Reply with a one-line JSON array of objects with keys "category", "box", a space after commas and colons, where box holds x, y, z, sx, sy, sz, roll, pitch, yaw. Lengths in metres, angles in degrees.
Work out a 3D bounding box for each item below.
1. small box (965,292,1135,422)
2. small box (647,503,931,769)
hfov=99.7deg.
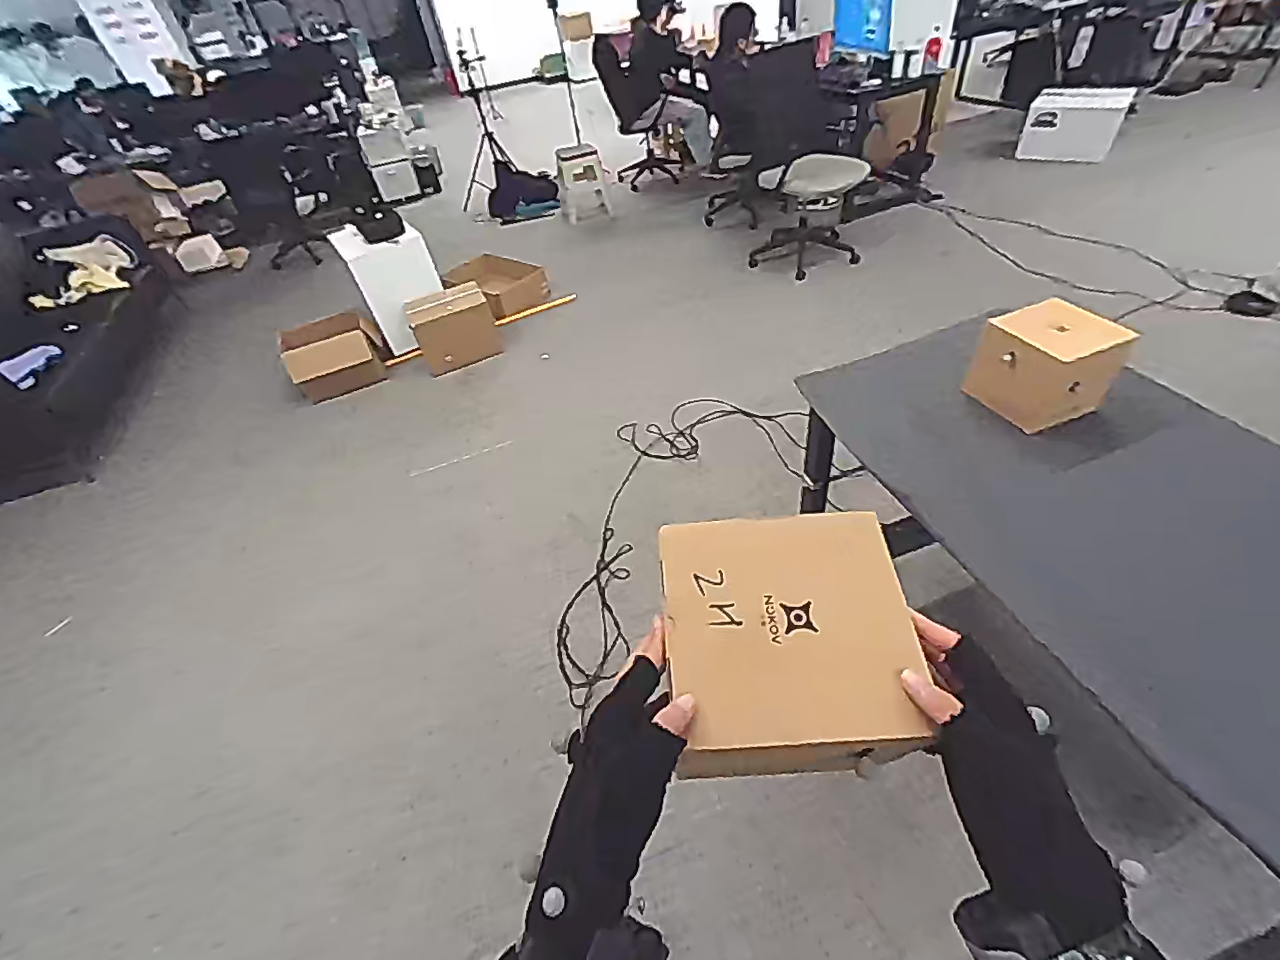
[{"category": "small box", "box": [0.777, -0.231, 1.047, 0.168, 0.176, 0.179, -20, 44, -8]}, {"category": "small box", "box": [0.100, 0.136, 0.451, 0.179, 0.176, 0.168, -5, 55, 2]}]
